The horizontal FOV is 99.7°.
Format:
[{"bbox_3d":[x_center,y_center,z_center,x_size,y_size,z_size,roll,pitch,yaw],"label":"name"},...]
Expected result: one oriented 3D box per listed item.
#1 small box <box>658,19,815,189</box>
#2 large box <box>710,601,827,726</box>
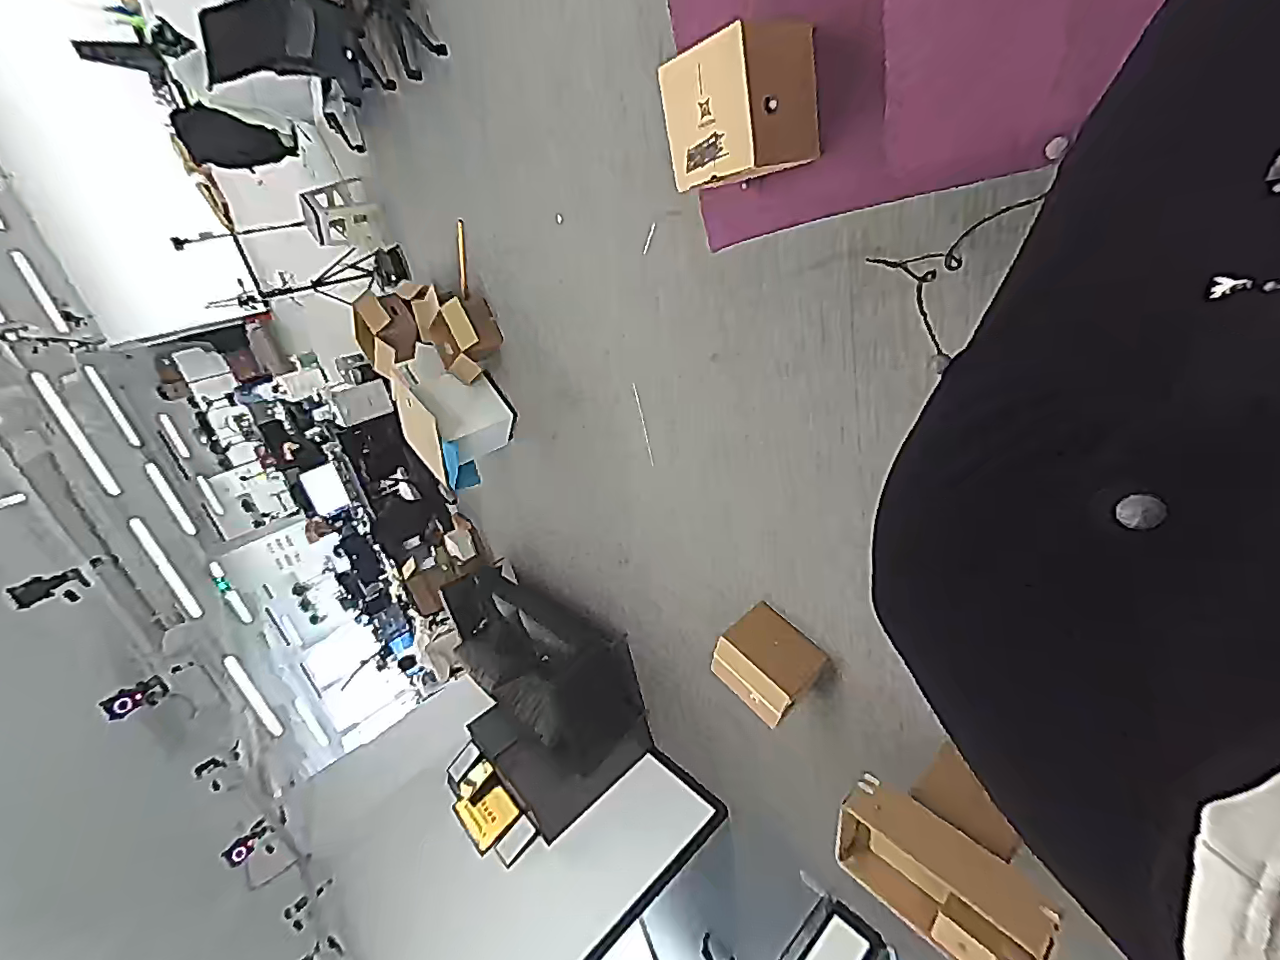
[{"bbox_3d":[0.155,-0.574,0.838,0.168,0.176,0.179,15,125,48],"label":"small box"},{"bbox_3d":[0.600,0.861,2.571,0.408,0.320,0.320,37,141,31],"label":"large box"}]
